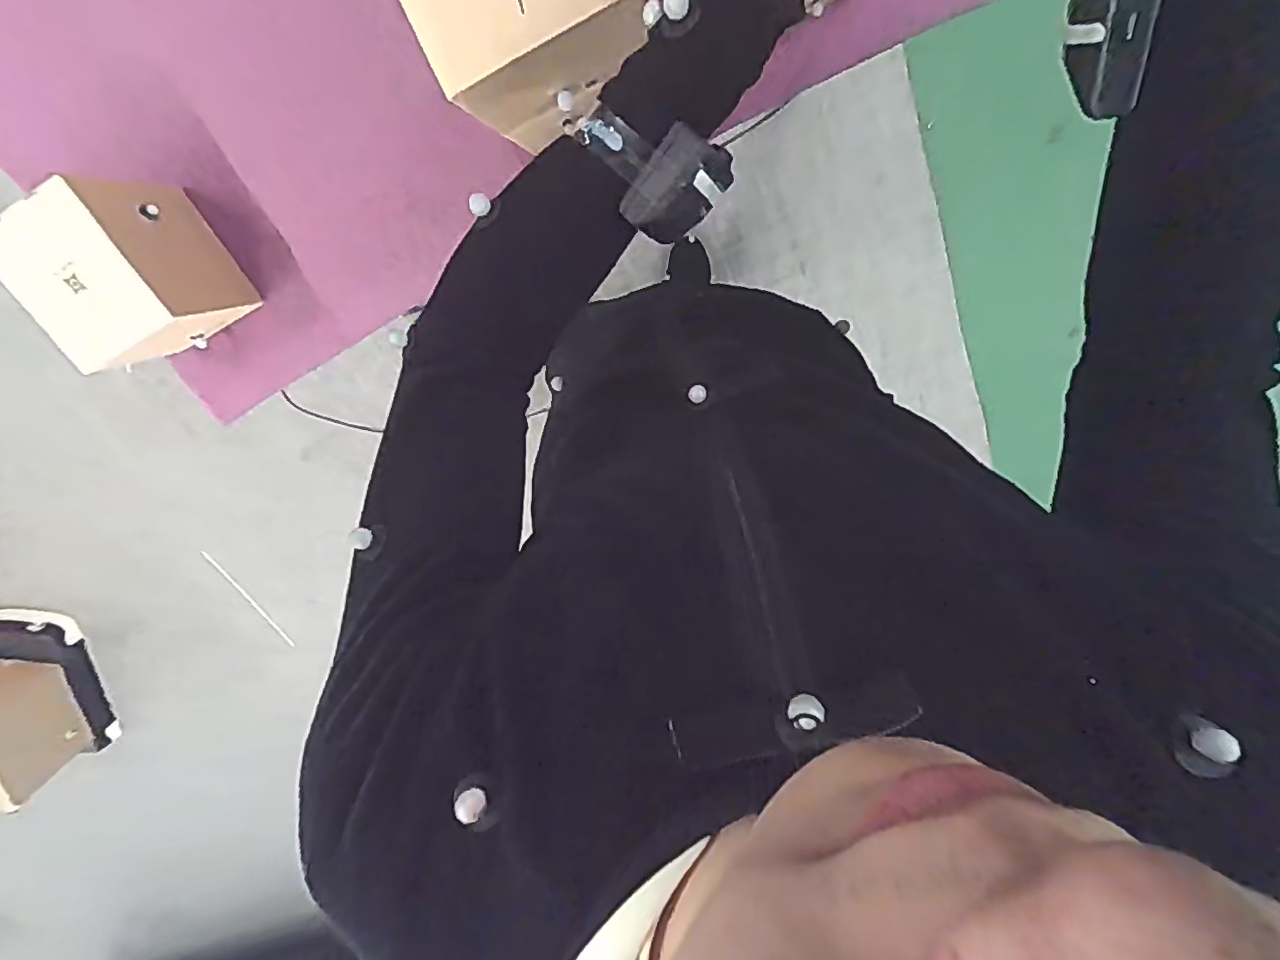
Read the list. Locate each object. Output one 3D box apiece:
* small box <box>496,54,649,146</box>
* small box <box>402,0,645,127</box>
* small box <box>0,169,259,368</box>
[{"bbox_3d":[-0.095,-0.492,0.589,0.168,0.176,0.179,-21,111,12],"label":"small box"},{"bbox_3d":[-0.103,-0.426,0.439,0.168,0.176,0.179,-20,112,12],"label":"small box"},{"bbox_3d":[-0.670,-0.275,0.715,0.168,0.176,0.179,-22,112,13],"label":"small box"}]
